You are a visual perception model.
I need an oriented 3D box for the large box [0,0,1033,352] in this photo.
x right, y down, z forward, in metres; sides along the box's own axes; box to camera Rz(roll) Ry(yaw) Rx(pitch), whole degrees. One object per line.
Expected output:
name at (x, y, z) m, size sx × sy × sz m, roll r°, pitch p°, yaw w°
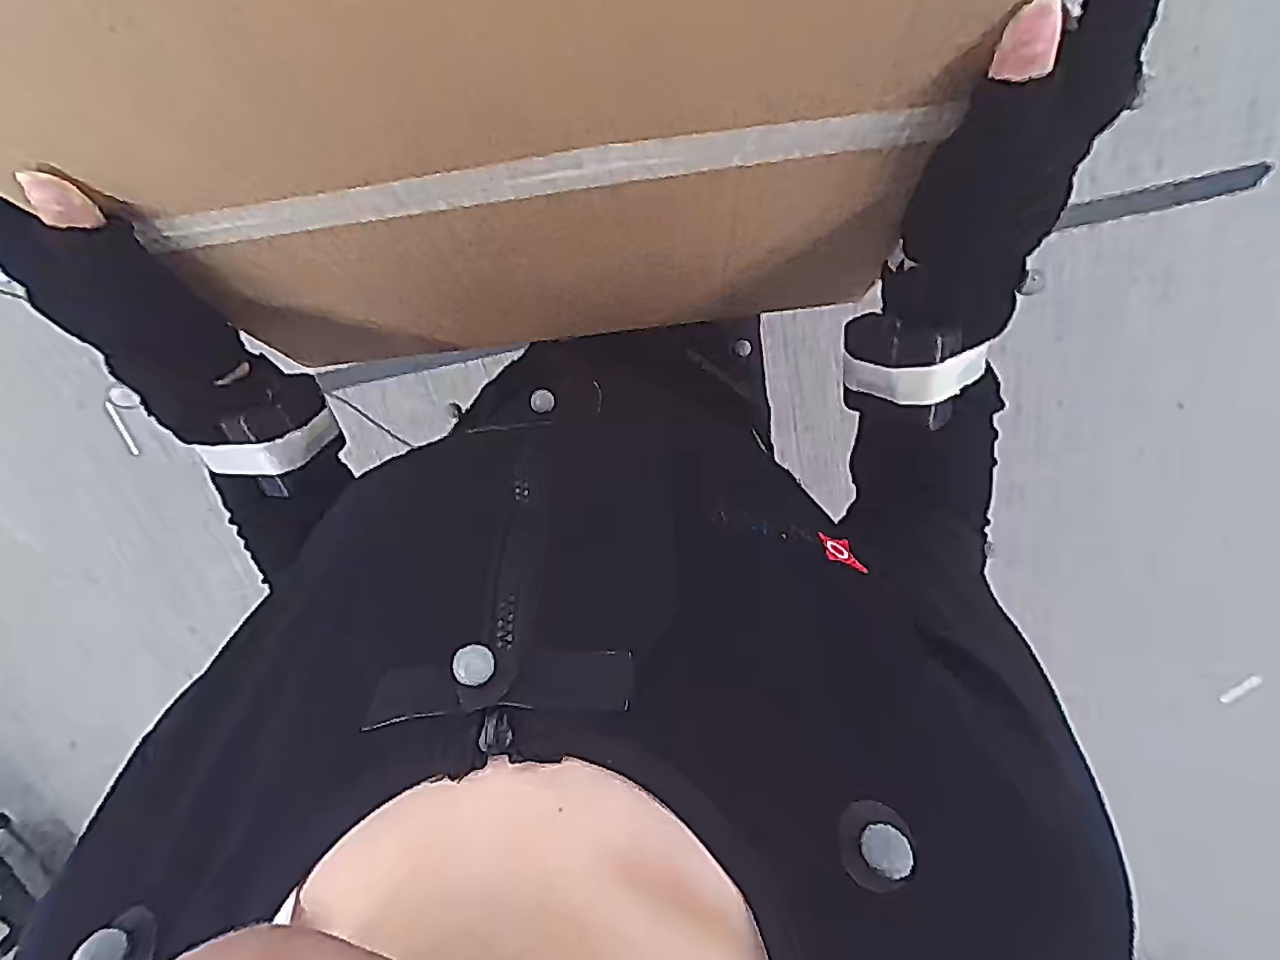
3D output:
large box at (-0.068, -0.292, 0.273) m, size 0.408 × 0.320 × 0.320 m, roll -6°, pitch 79°, yaw 3°
